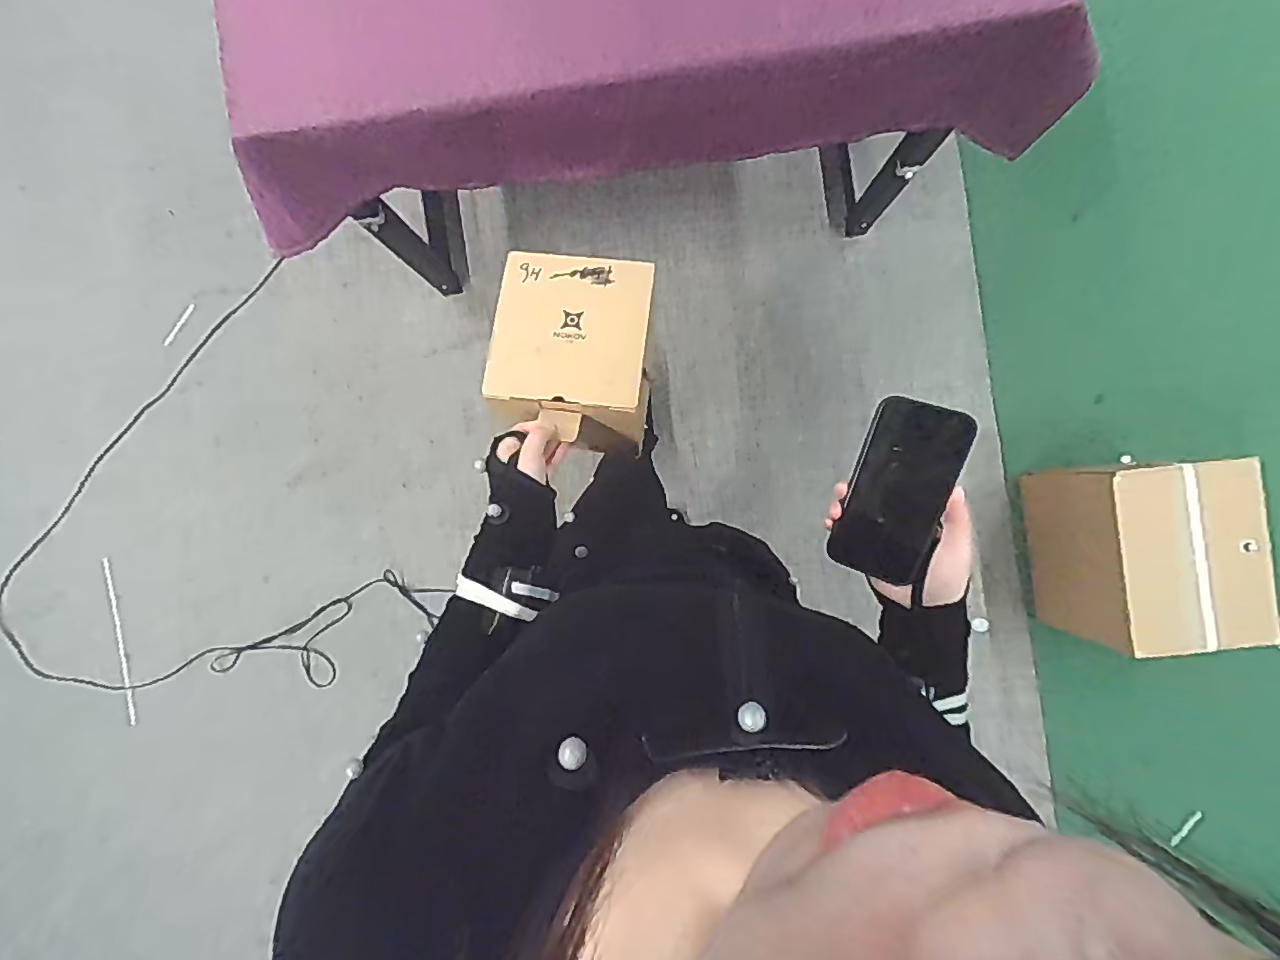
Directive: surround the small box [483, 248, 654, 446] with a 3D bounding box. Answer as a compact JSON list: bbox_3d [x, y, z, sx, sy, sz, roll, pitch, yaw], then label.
[{"bbox_3d":[-0.072,-0.148,0.653,0.168,0.176,0.179,5,77,3],"label":"small box"}]
